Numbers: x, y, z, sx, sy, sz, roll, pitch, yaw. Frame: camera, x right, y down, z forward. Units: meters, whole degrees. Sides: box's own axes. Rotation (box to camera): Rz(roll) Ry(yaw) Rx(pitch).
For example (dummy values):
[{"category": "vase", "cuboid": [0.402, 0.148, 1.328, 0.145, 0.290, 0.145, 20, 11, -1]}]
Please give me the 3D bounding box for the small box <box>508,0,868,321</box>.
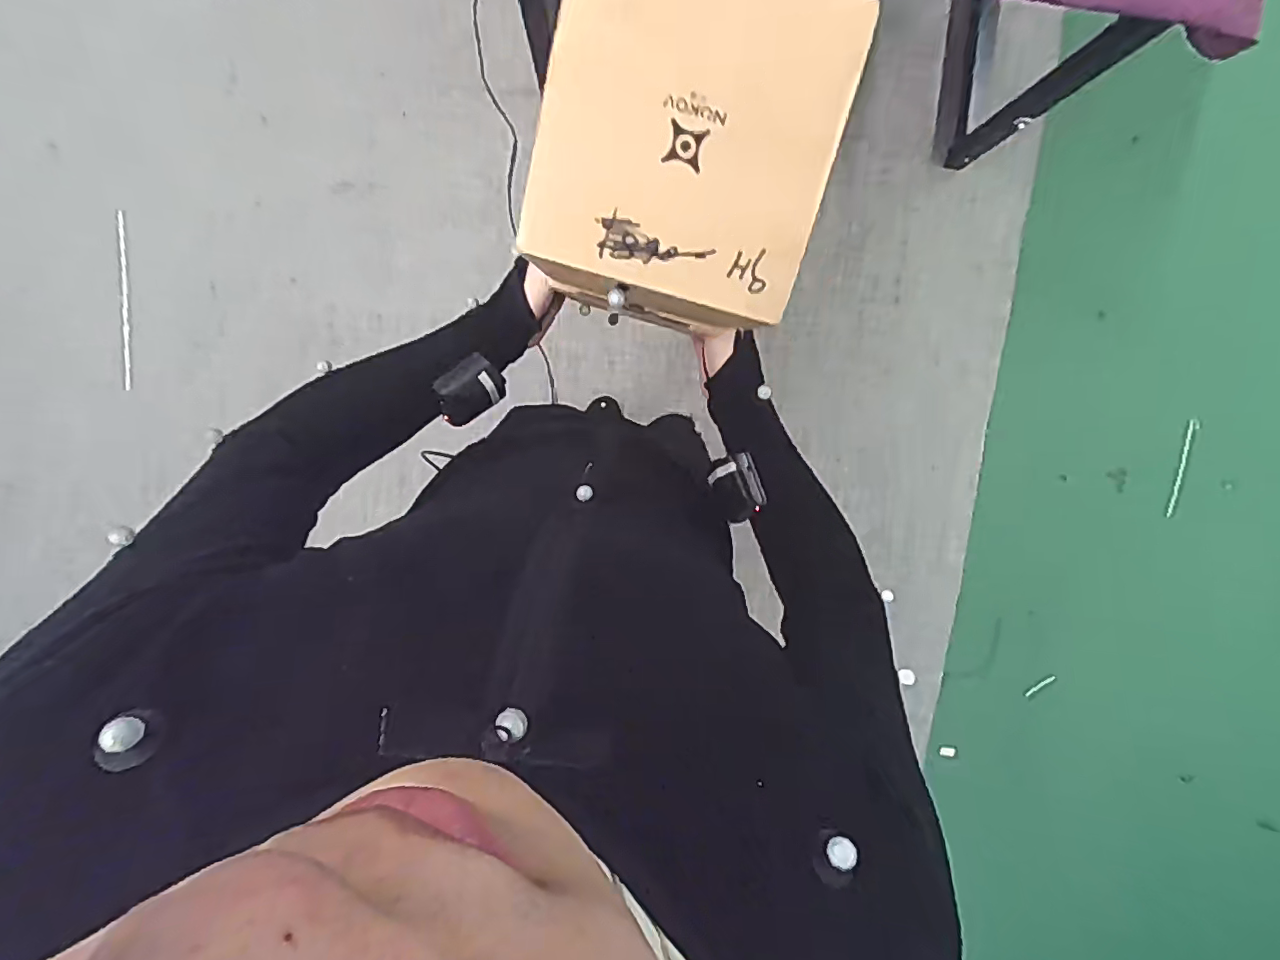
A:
[{"category": "small box", "cuboid": [0.020, -0.220, 0.376, 0.168, 0.176, 0.179, 14, 103, -6]}]
